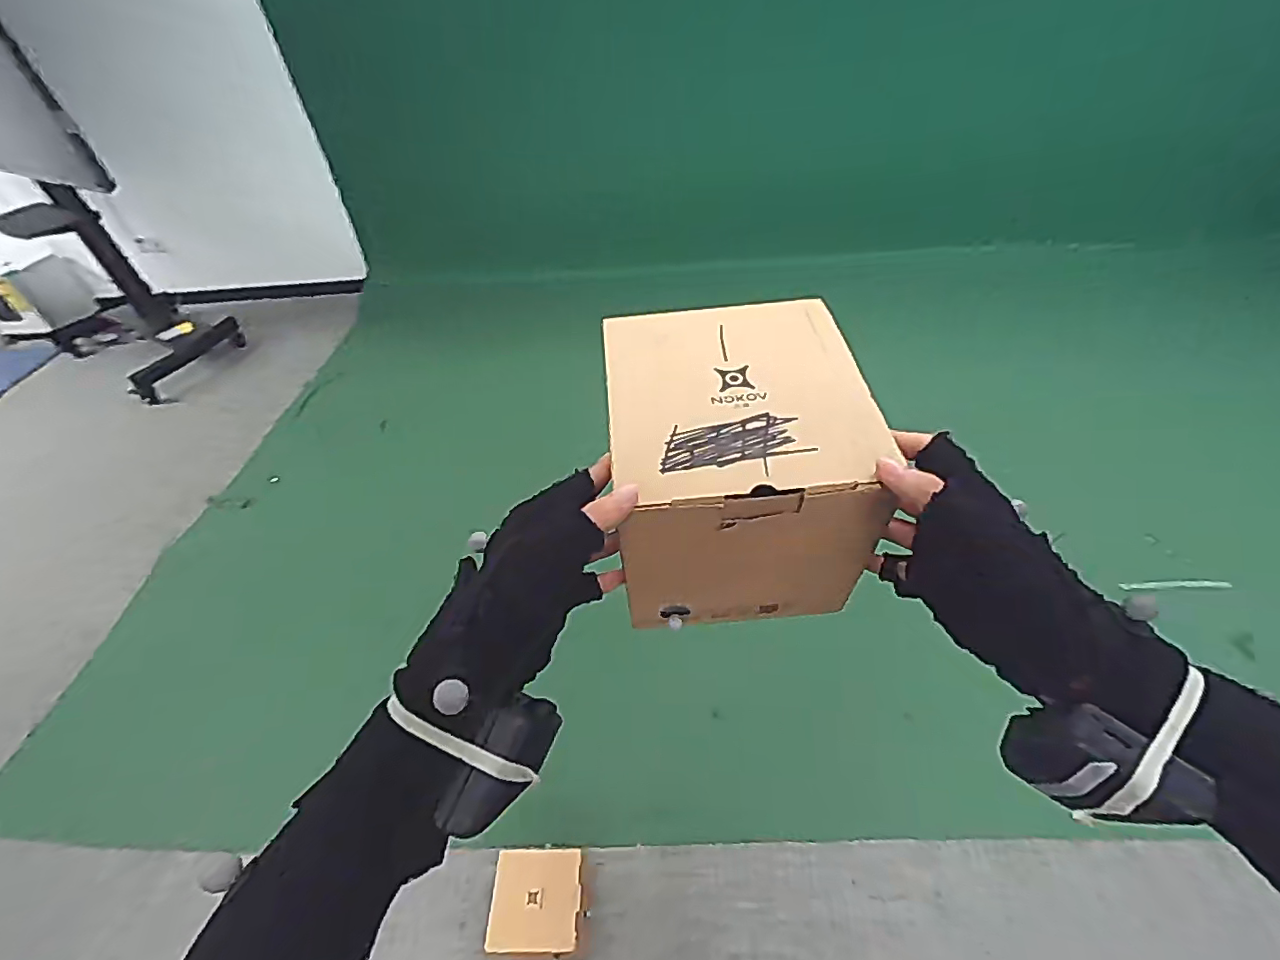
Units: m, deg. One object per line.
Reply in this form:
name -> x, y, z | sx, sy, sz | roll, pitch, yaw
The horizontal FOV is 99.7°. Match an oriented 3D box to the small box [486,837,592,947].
small box -> -0.202, 0.865, 1.134 | 0.179, 0.176, 0.168 | -2, 46, 2

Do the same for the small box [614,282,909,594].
small box -> 0.071, -0.023, 0.415 | 0.168, 0.176, 0.179 | -5, 52, 0
